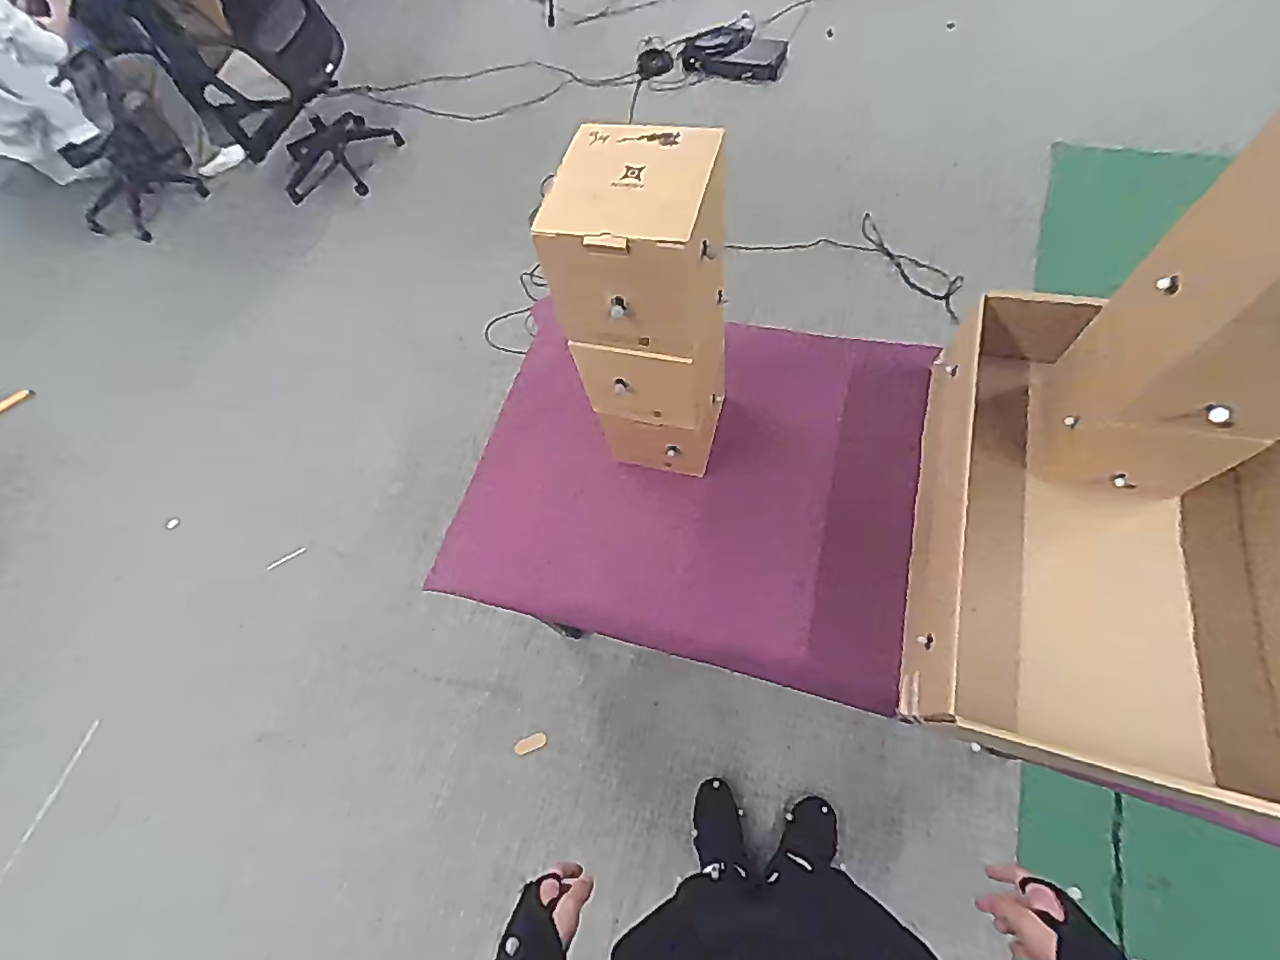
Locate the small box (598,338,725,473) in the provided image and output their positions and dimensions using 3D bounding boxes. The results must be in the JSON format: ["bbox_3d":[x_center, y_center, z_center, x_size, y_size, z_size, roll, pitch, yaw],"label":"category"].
[{"bbox_3d":[0.046,-0.131,0.917,0.168,0.176,0.179,13,67,14],"label":"small box"}]

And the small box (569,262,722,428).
[{"bbox_3d":[0.021,-0.196,0.771,0.168,0.176,0.179,12,67,14],"label":"small box"}]

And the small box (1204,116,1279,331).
[{"bbox_3d":[0.622,-0.229,0.439,0.168,0.176,0.179,11,68,15],"label":"small box"}]

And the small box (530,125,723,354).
[{"bbox_3d":[0.000,-0.270,0.626,0.168,0.176,0.179,12,68,13],"label":"small box"}]
